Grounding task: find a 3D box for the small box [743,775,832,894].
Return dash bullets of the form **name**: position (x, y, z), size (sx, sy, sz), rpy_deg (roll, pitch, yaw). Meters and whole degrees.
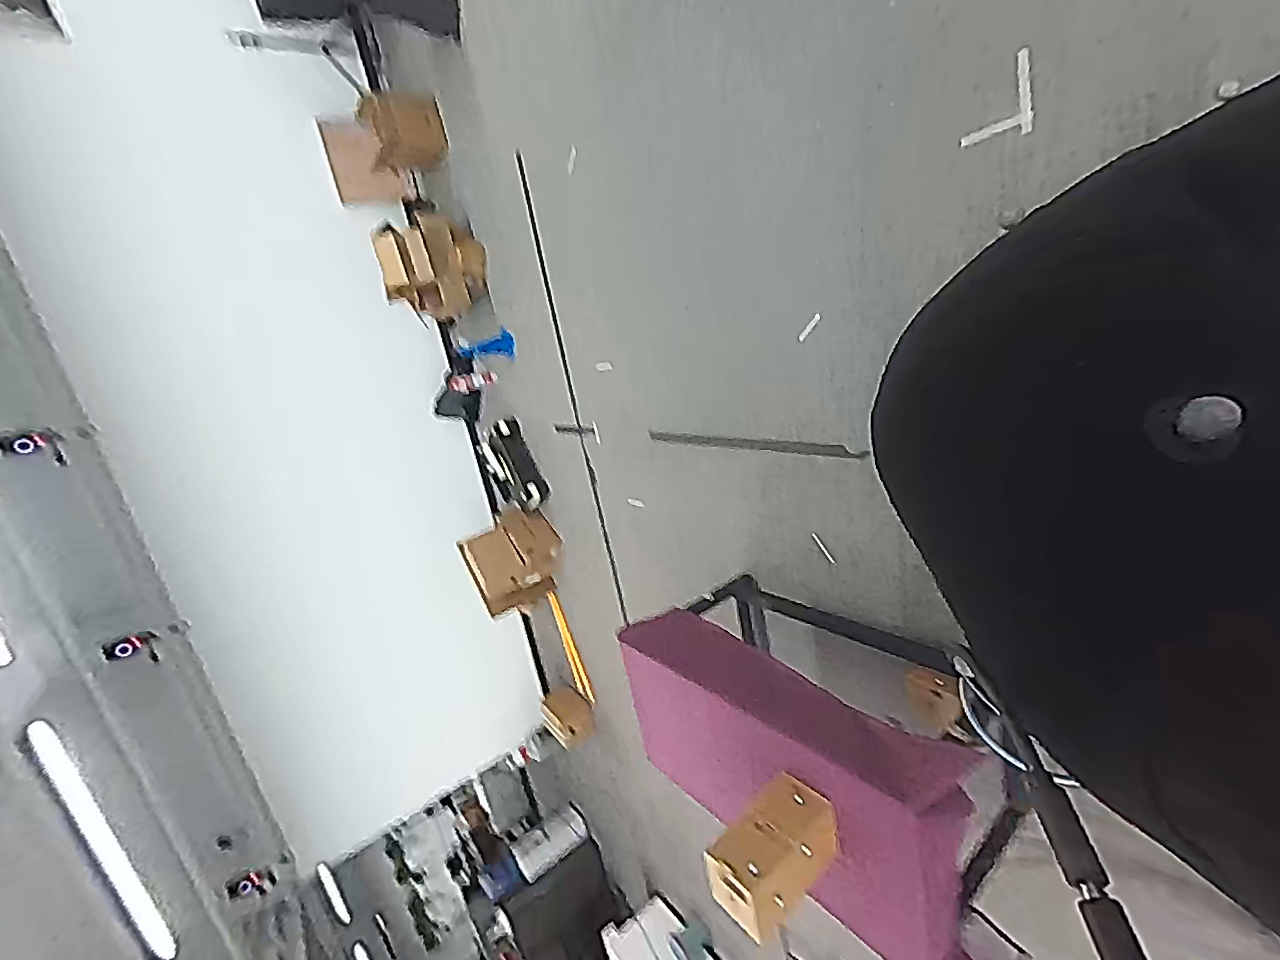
- **small box**: position (0.411, 0.969, 1.494), size (0.168, 0.176, 0.179), rpy_deg (9, 115, 53)
